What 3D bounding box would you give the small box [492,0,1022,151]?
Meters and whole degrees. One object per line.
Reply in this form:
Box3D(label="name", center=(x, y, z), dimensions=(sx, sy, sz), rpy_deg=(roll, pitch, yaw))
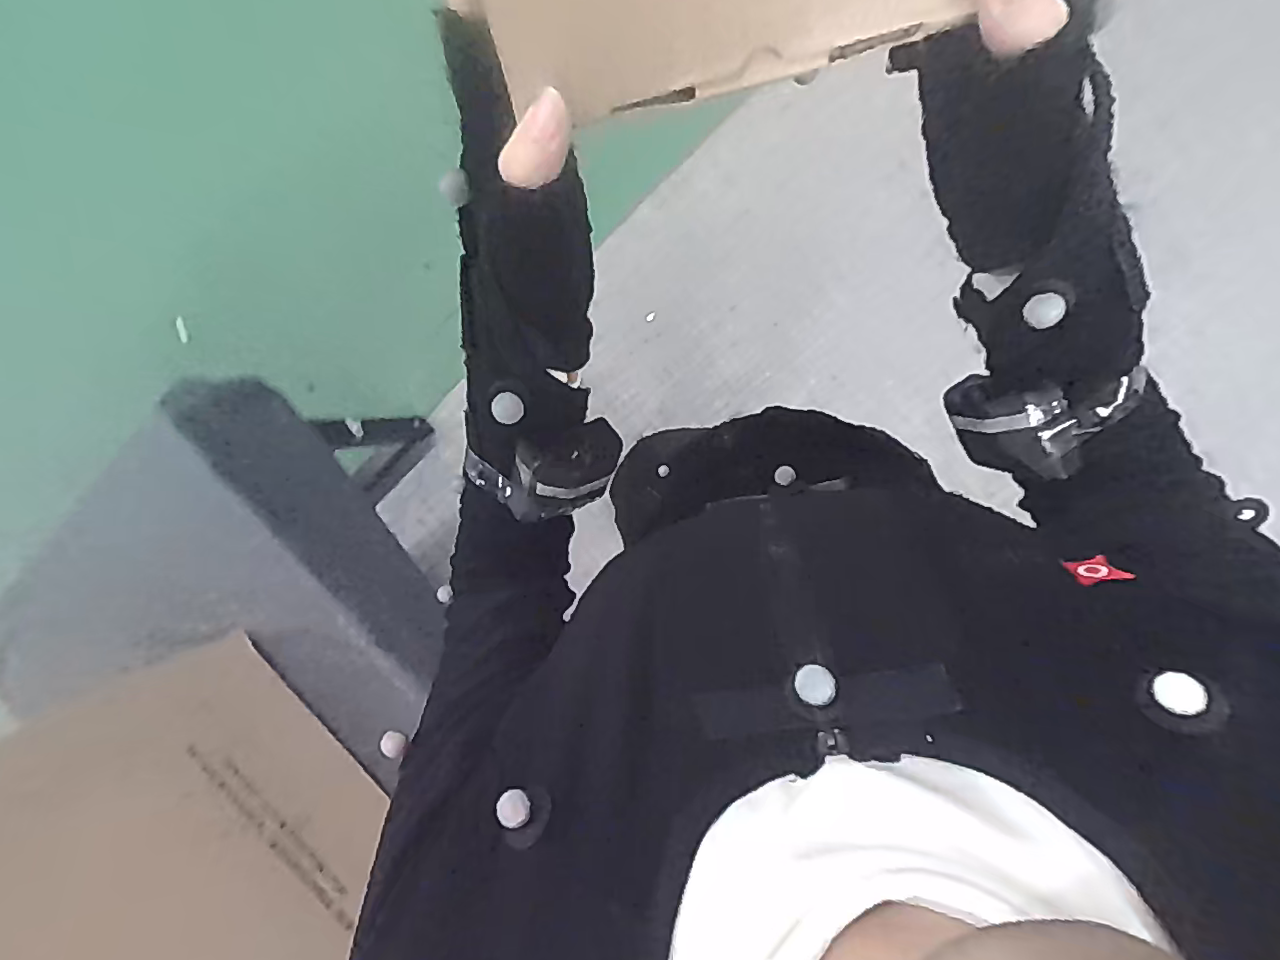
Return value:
Box3D(label="small box", center=(0.021, -0.248, 0.181), dimensions=(0.168, 0.176, 0.179), rpy_deg=(-13, 132, 9))
